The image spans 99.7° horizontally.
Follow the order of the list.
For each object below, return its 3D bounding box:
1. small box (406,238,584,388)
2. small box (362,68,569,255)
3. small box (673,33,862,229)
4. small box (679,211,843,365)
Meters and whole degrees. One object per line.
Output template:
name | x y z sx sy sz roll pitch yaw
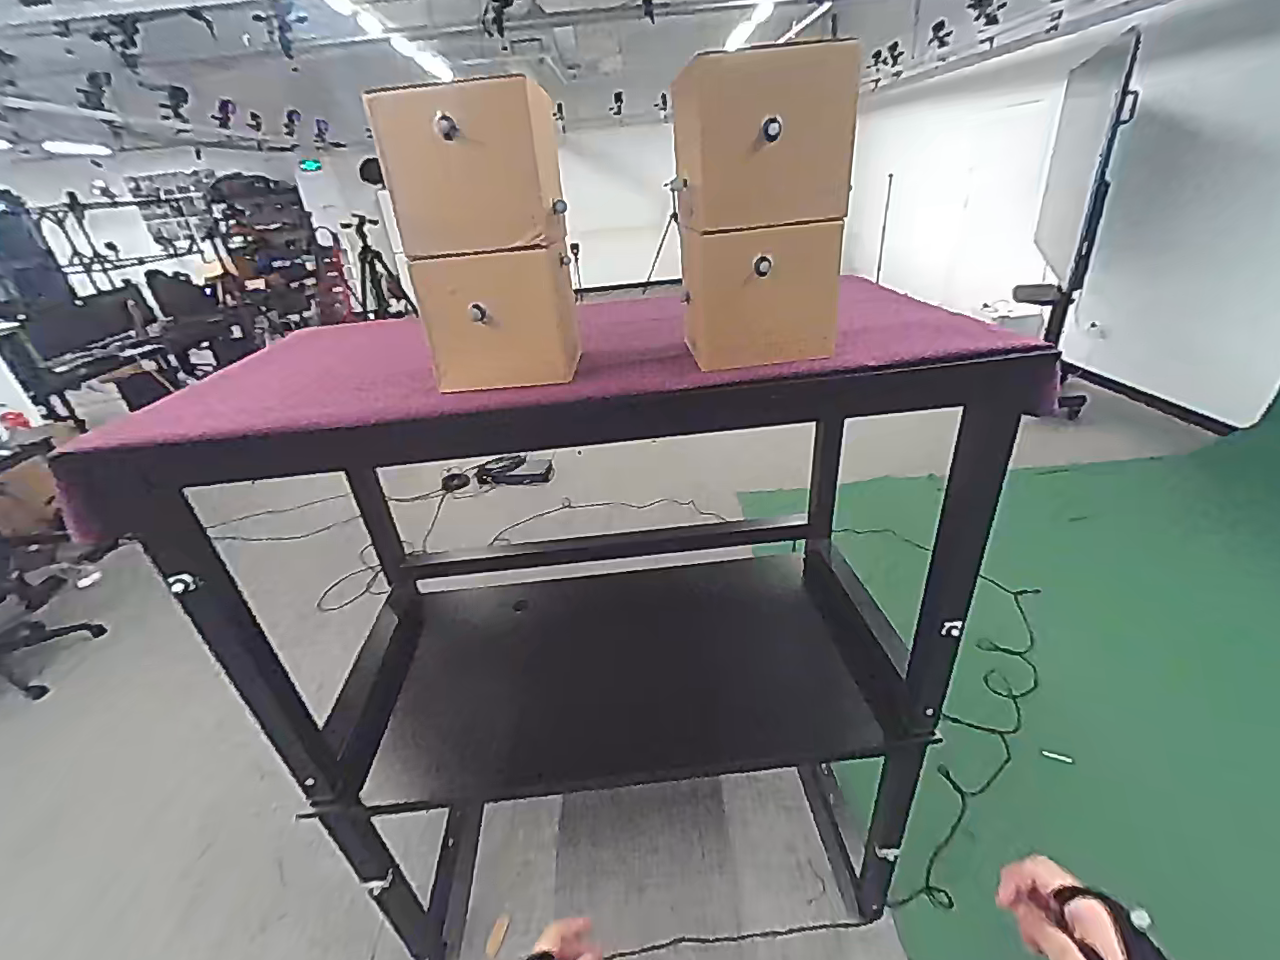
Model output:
small box | -0.182 -0.230 0.737 0.179 0.176 0.168 -5 28 3
small box | -0.194 -0.375 0.661 0.179 0.176 0.168 -3 28 4
small box | 0.140 -0.404 0.647 0.179 0.176 0.168 -8 29 -1
small box | 0.153 -0.260 0.725 0.179 0.176 0.168 -6 29 0
